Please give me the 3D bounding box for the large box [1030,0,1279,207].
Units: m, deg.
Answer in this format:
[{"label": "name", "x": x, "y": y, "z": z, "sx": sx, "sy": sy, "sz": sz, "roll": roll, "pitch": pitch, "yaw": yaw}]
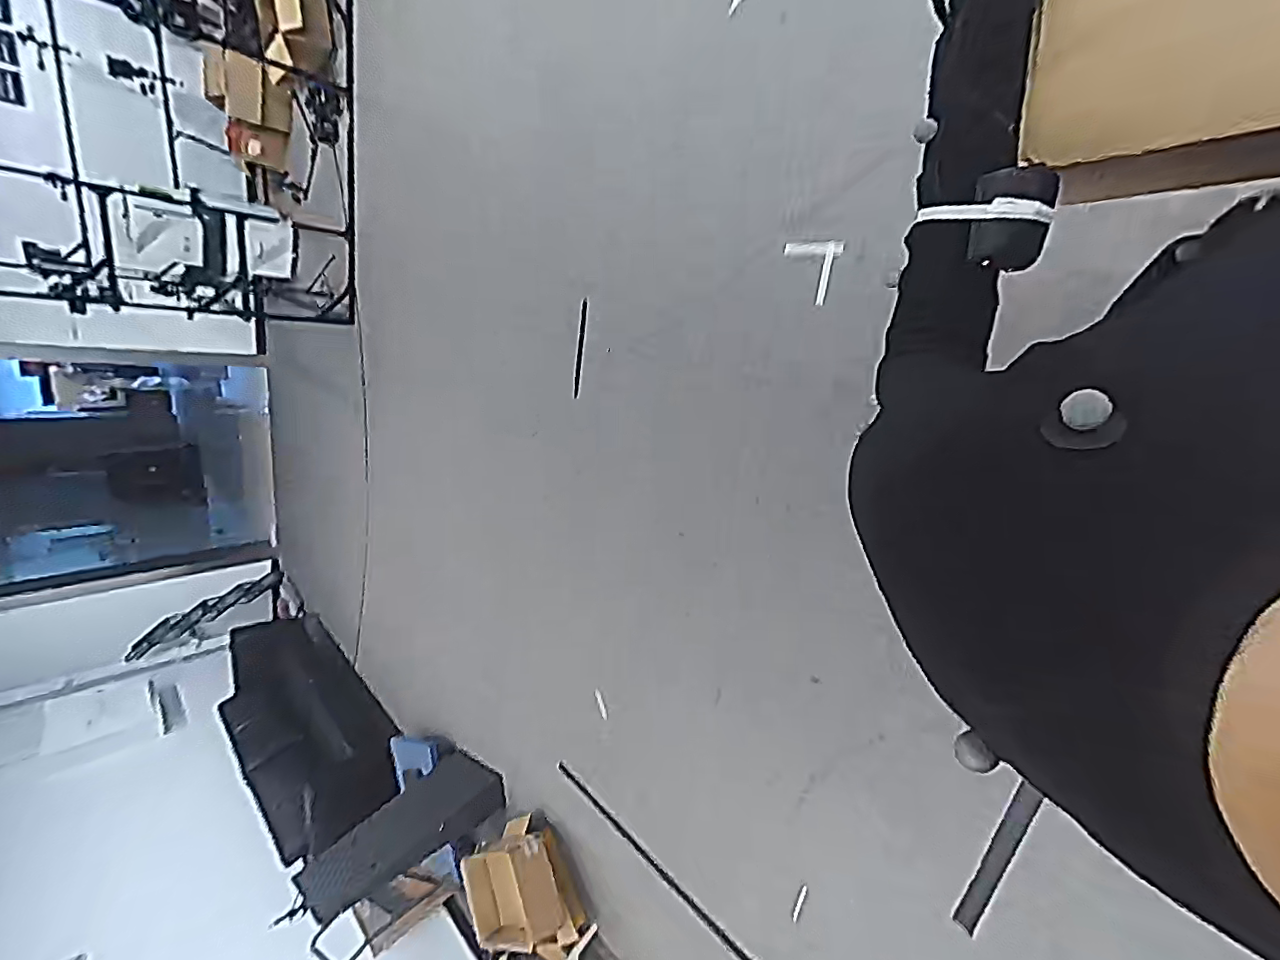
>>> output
[{"label": "large box", "x": 0.522, "y": -0.392, "z": 0.345, "sx": 0.408, "sy": 0.320, "sz": 0.320, "roll": 10, "pitch": 113, "yaw": 39}]
